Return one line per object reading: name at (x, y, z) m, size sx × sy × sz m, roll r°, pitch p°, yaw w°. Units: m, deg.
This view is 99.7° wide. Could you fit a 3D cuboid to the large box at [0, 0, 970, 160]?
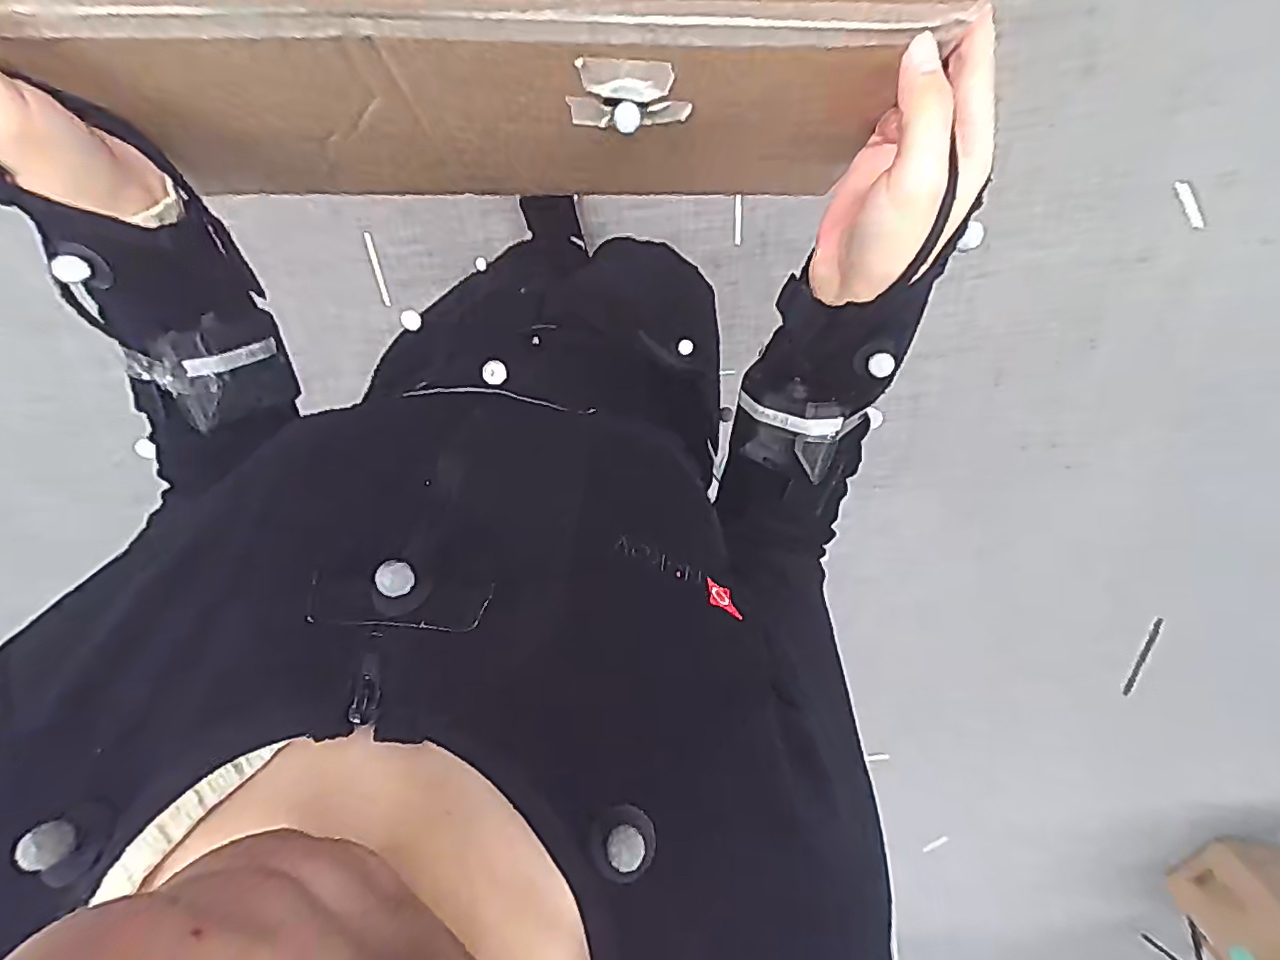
large box at (-0.066, -0.341, 0.170) m, size 0.408 × 0.320 × 0.320 m, roll -2°, pitch 95°, yaw -3°
